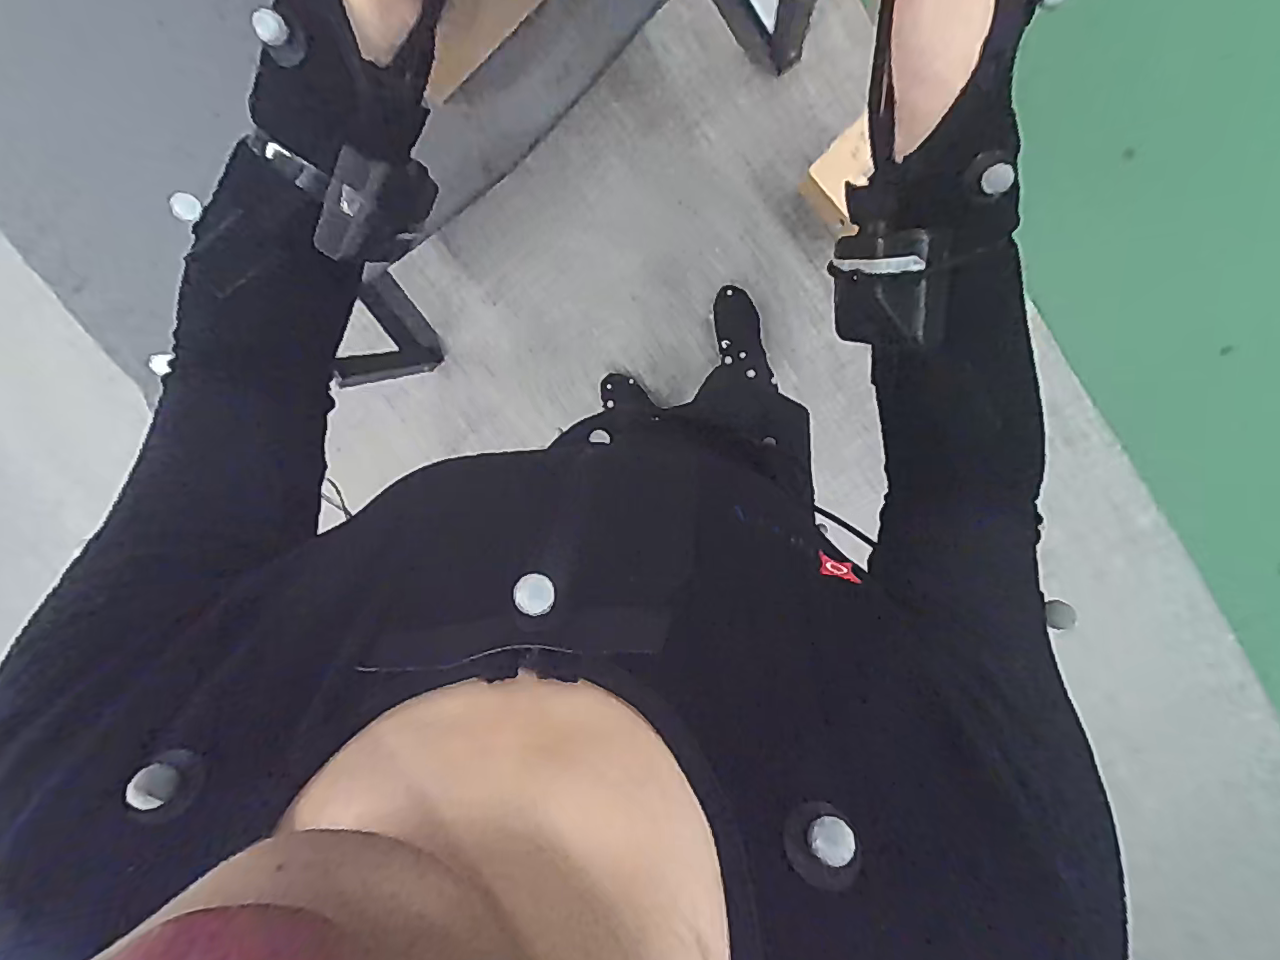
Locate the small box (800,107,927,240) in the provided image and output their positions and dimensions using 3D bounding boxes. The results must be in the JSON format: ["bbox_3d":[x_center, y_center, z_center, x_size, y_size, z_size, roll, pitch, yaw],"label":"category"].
[{"bbox_3d":[0.467,-0.639,1.157,0.168,0.176,0.179,-42,96,17],"label":"small box"}]
